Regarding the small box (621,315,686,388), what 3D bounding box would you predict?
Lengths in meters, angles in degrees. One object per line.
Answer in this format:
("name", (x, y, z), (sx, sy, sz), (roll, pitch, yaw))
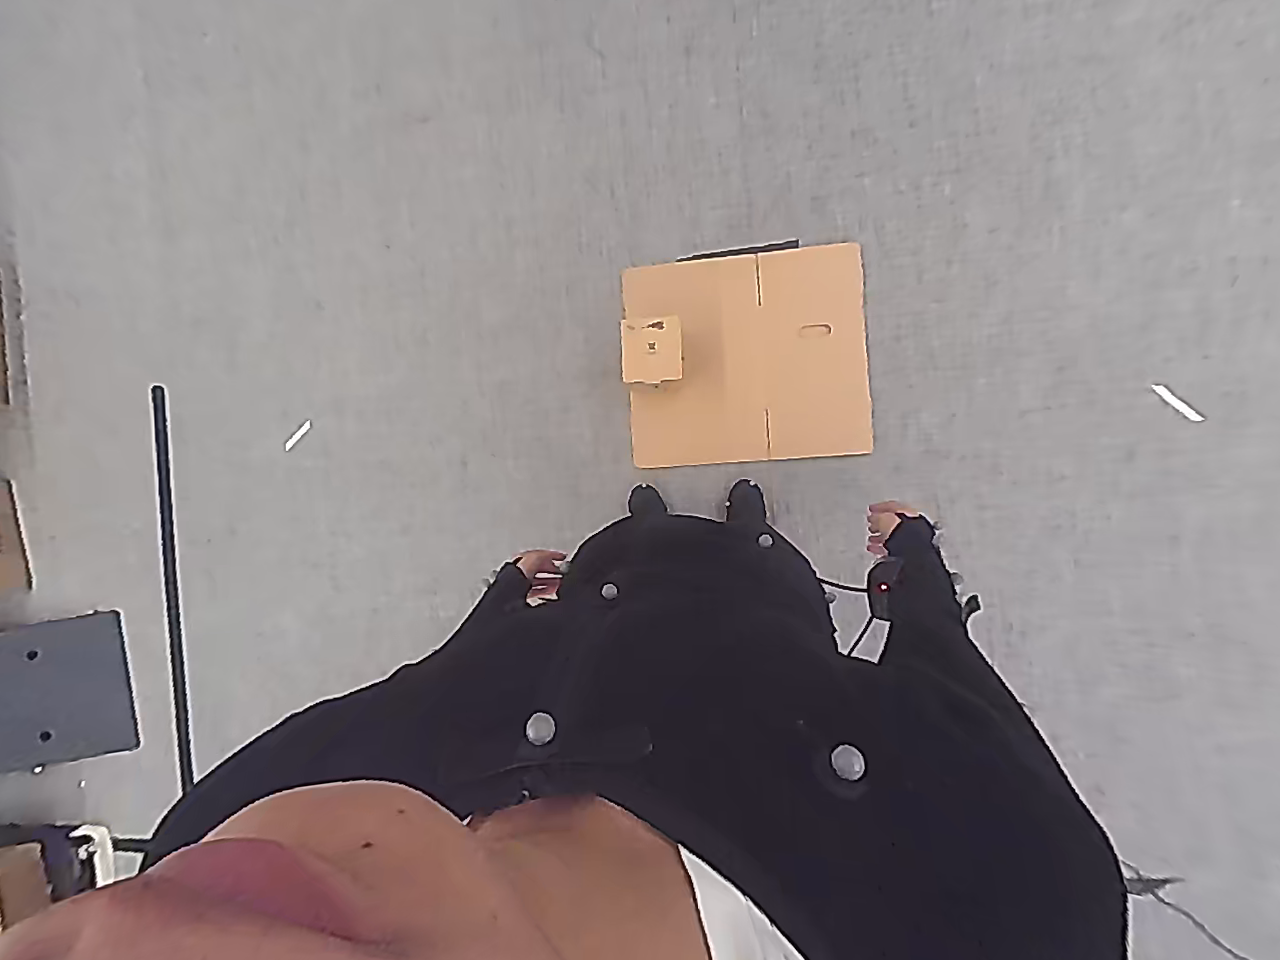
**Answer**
("small box", (0.041, -0.357, 1.532), (0.168, 0.176, 0.179), (-1, 92, 8))
